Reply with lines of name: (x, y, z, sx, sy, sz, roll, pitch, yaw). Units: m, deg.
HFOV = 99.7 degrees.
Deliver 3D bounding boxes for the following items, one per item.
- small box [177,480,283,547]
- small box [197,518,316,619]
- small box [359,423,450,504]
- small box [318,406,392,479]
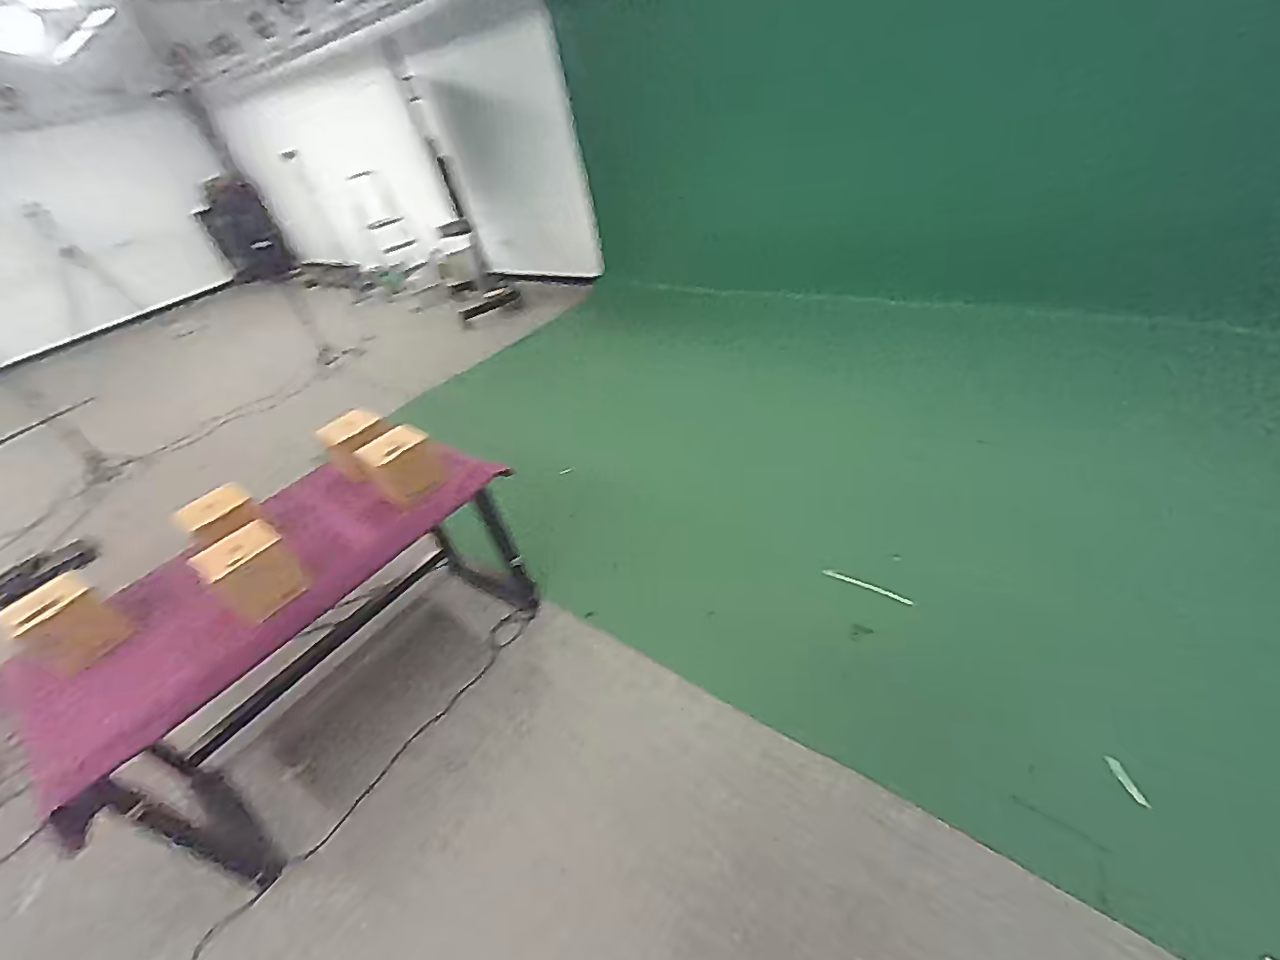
small box: (-1.212, 0.129, 1.605, 0.179, 0.176, 0.168, 19, 47, 34)
small box: (-0.992, 0.230, 1.405, 0.179, 0.176, 0.168, 18, 48, 37)
small box: (-0.725, -0.048, 1.677, 0.179, 0.176, 0.168, 21, 50, 39)
small box: (-0.947, -0.127, 1.847, 0.179, 0.176, 0.168, 20, 49, 35)
